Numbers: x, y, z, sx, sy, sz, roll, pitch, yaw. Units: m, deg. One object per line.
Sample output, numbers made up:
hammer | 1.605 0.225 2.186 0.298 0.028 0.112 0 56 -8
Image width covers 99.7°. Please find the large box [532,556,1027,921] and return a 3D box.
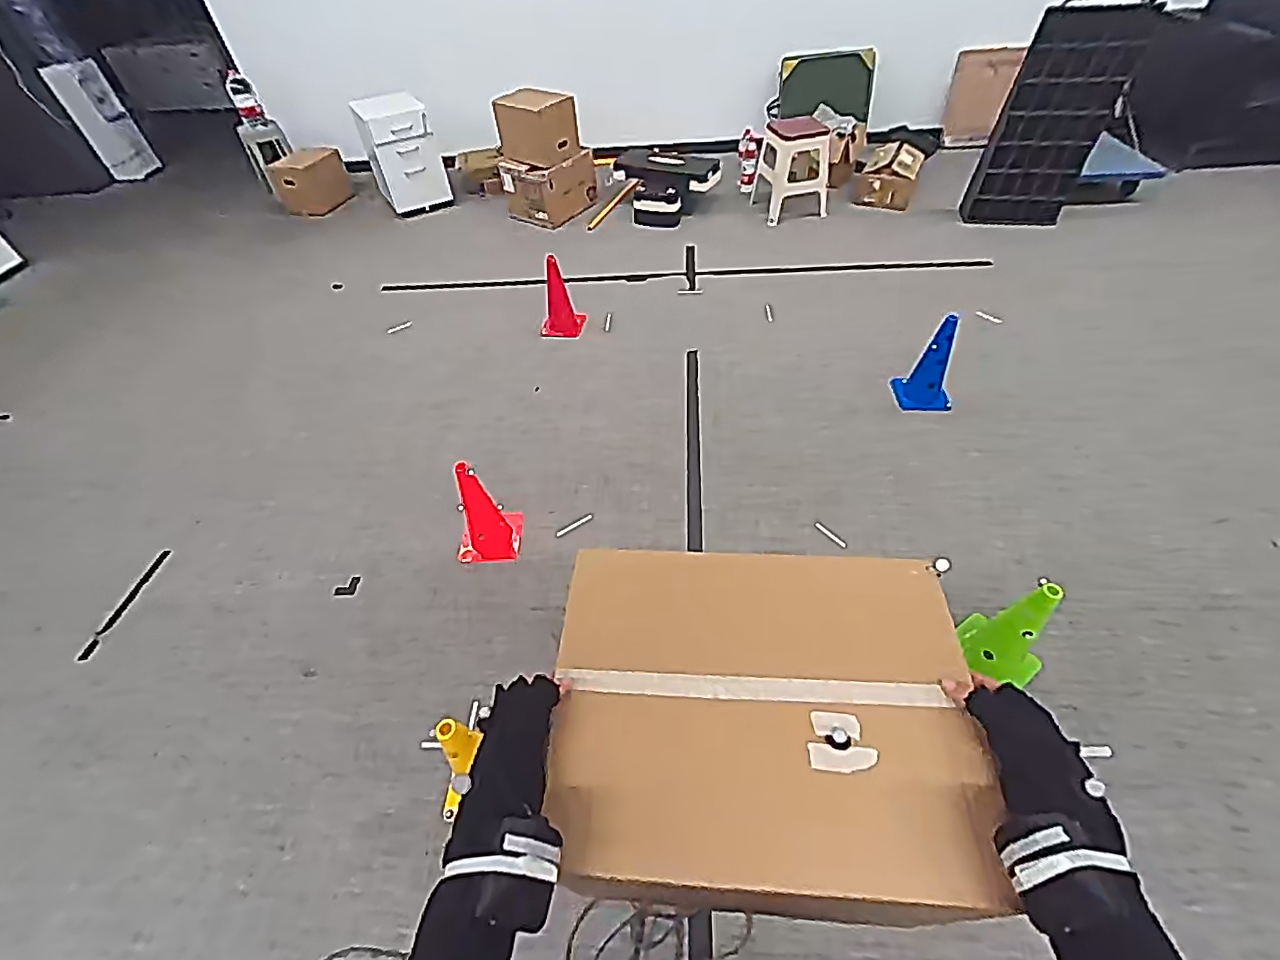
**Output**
large box | 0.121 0.305 0.642 0.408 0.320 0.320 1 49 5

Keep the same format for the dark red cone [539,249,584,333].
dark red cone | -0.398 -0.898 2.569 0.201 0.394 0.202 4 49 7

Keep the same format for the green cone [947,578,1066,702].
green cone | 0.945 0.362 1.346 0.202 0.368 0.200 -29 53 -22

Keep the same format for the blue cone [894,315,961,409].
blue cone | 1.144 -0.463 2.095 0.192 0.380 0.193 2 49 6

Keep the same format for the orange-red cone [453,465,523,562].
orange-red cone | -0.519 0.085 1.726 0.198 0.360 0.199 -3 49 3
